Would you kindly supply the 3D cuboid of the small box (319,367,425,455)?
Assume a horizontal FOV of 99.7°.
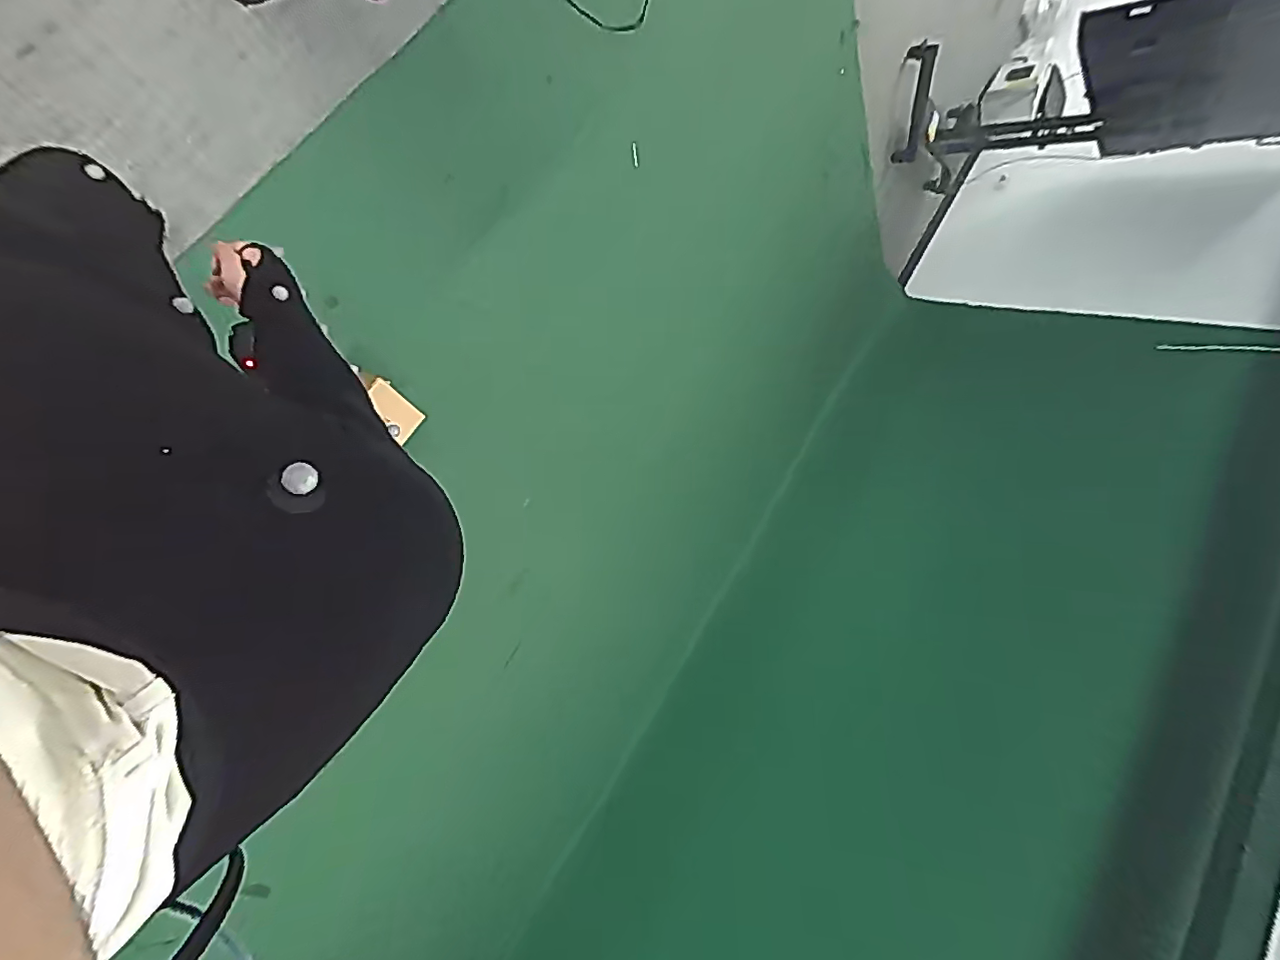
[{"bbox_3d":[-0.762,-0.201,1.537,0.168,0.176,0.179,-57,140,-14],"label":"small box"}]
